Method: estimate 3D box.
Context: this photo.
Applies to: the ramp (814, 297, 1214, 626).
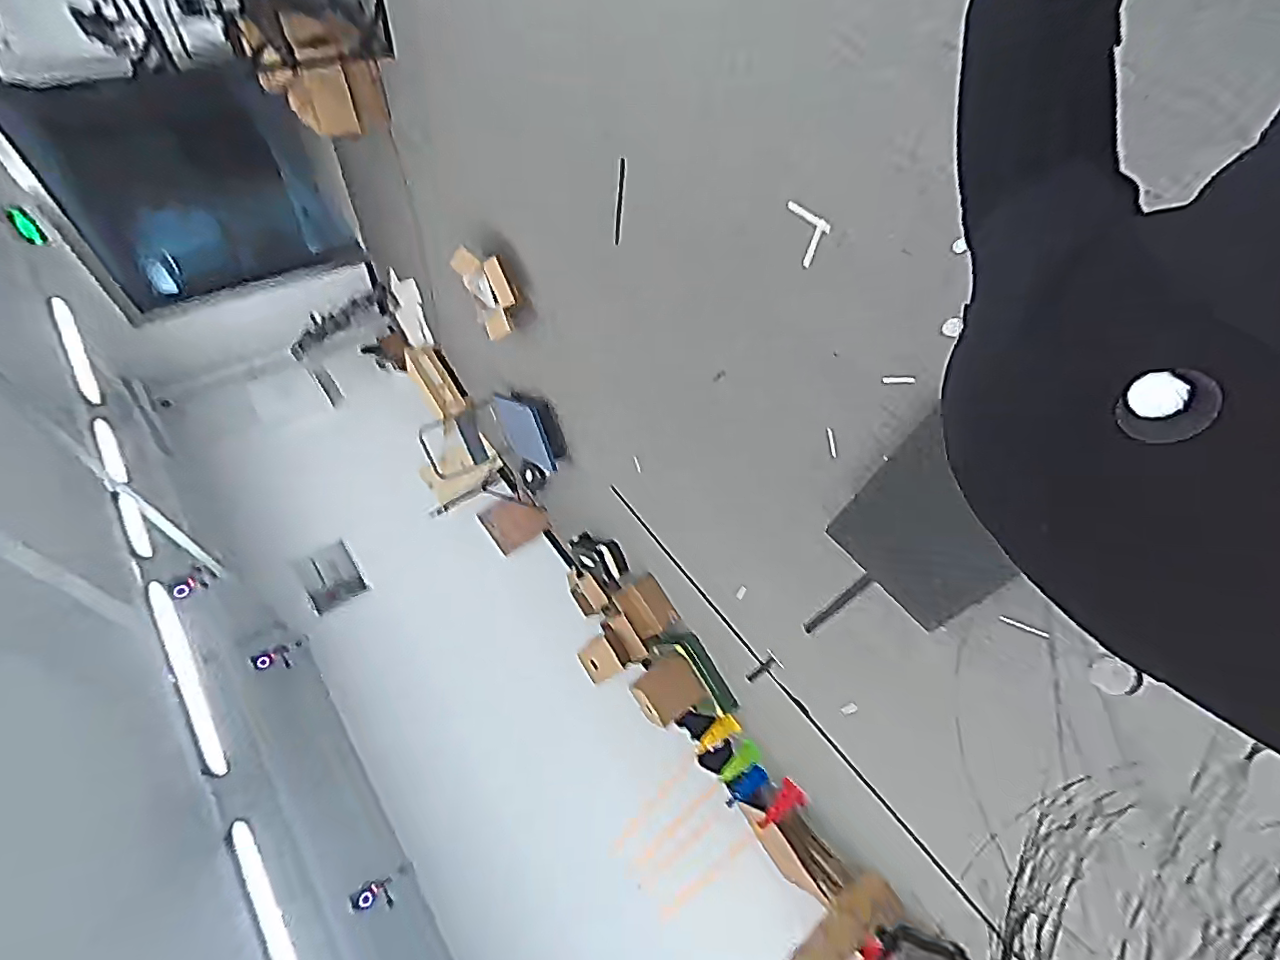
[{"bbox_3d":[0.942,0.021,1.594,0.509,0.206,0.991,48,151,24],"label":"ramp"}]
